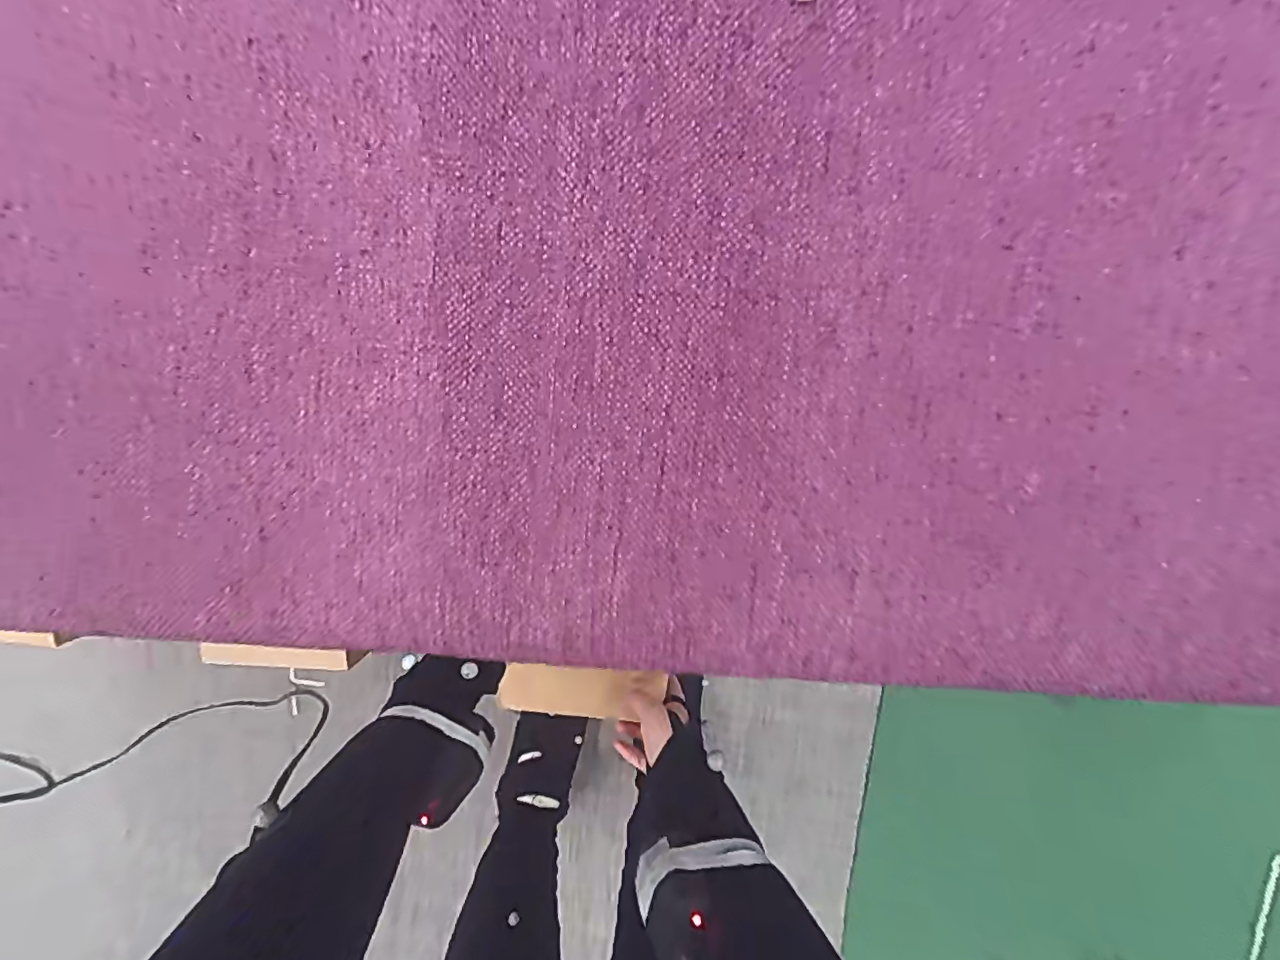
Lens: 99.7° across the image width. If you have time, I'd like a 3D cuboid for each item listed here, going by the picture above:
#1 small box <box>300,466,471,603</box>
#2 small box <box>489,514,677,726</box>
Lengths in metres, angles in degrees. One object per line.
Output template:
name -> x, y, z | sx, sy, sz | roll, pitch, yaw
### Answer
small box -> -0.374, 0.072, 0.817 | 0.179, 0.176, 0.168 | 3, 99, 4
small box -> -0.055, 0.143, 0.611 | 0.179, 0.176, 0.168 | 4, 105, 6
